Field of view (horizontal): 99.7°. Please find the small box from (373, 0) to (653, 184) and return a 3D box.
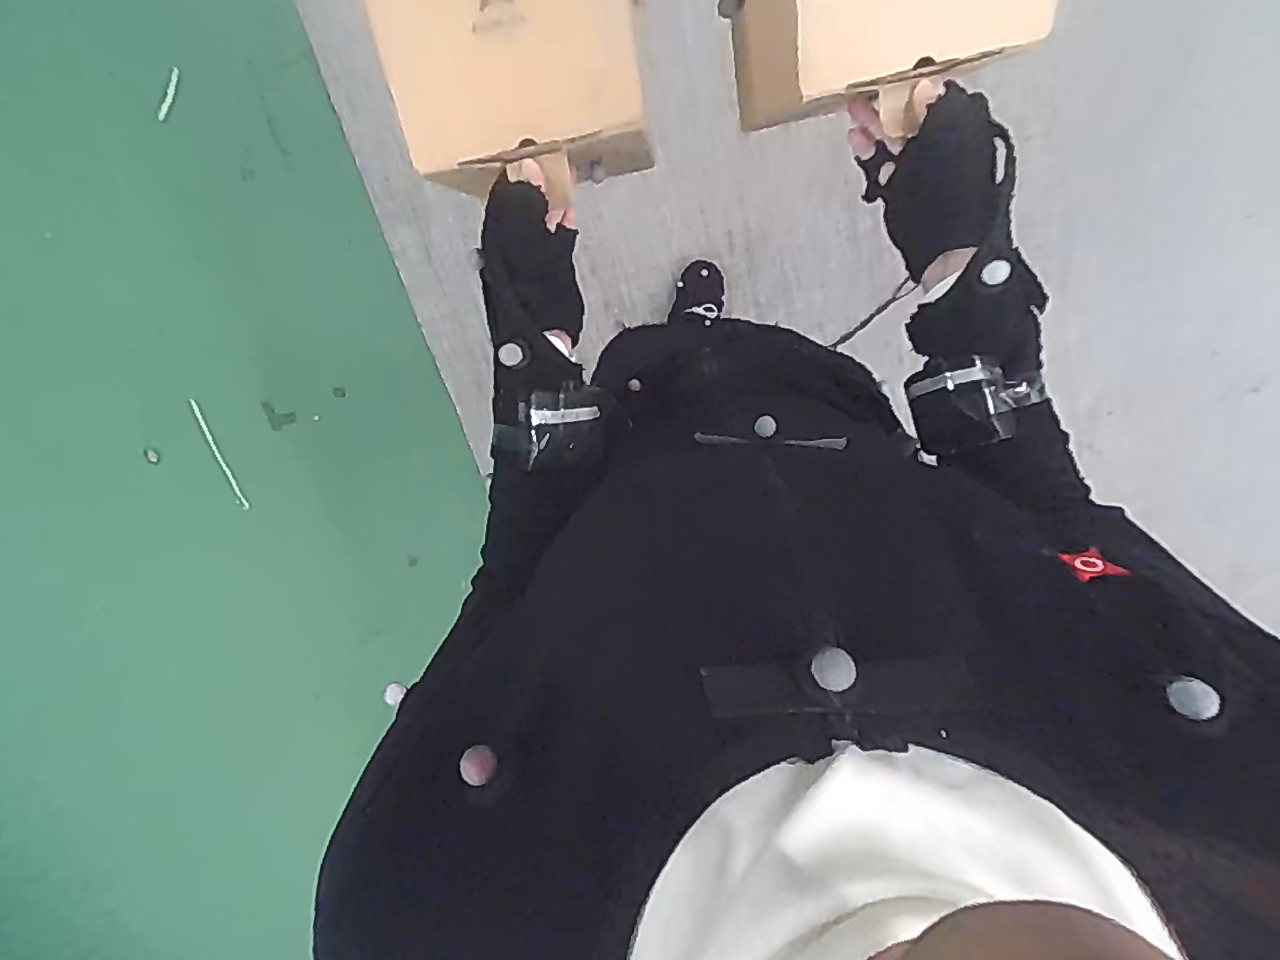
[{"bbox_3d":[-0.085,-0.341,0.412,0.168,0.176,0.179,-9,110,6],"label":"small box"}]
